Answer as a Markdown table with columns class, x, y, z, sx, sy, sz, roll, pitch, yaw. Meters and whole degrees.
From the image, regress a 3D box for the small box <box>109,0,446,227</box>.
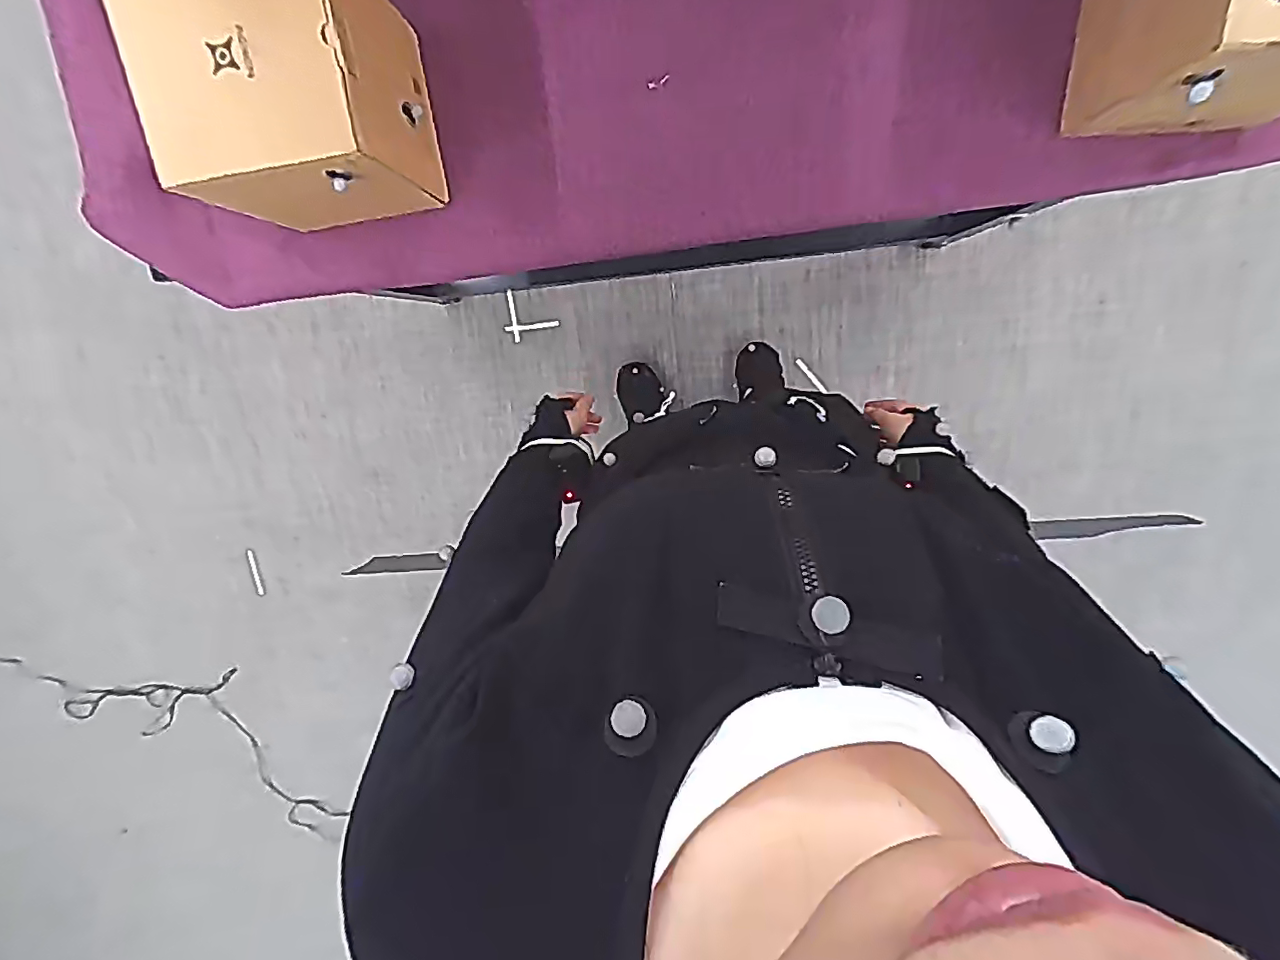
| class | x | y | z | sx | sy | sz | roll | pitch | yaw |
| --- | --- | --- | --- | --- | --- | --- | --- | --- | --- |
| small box | -0.308 | -0.345 | 0.493 | 0.179 | 0.176 | 0.168 | -7 | 103 | 7 |
